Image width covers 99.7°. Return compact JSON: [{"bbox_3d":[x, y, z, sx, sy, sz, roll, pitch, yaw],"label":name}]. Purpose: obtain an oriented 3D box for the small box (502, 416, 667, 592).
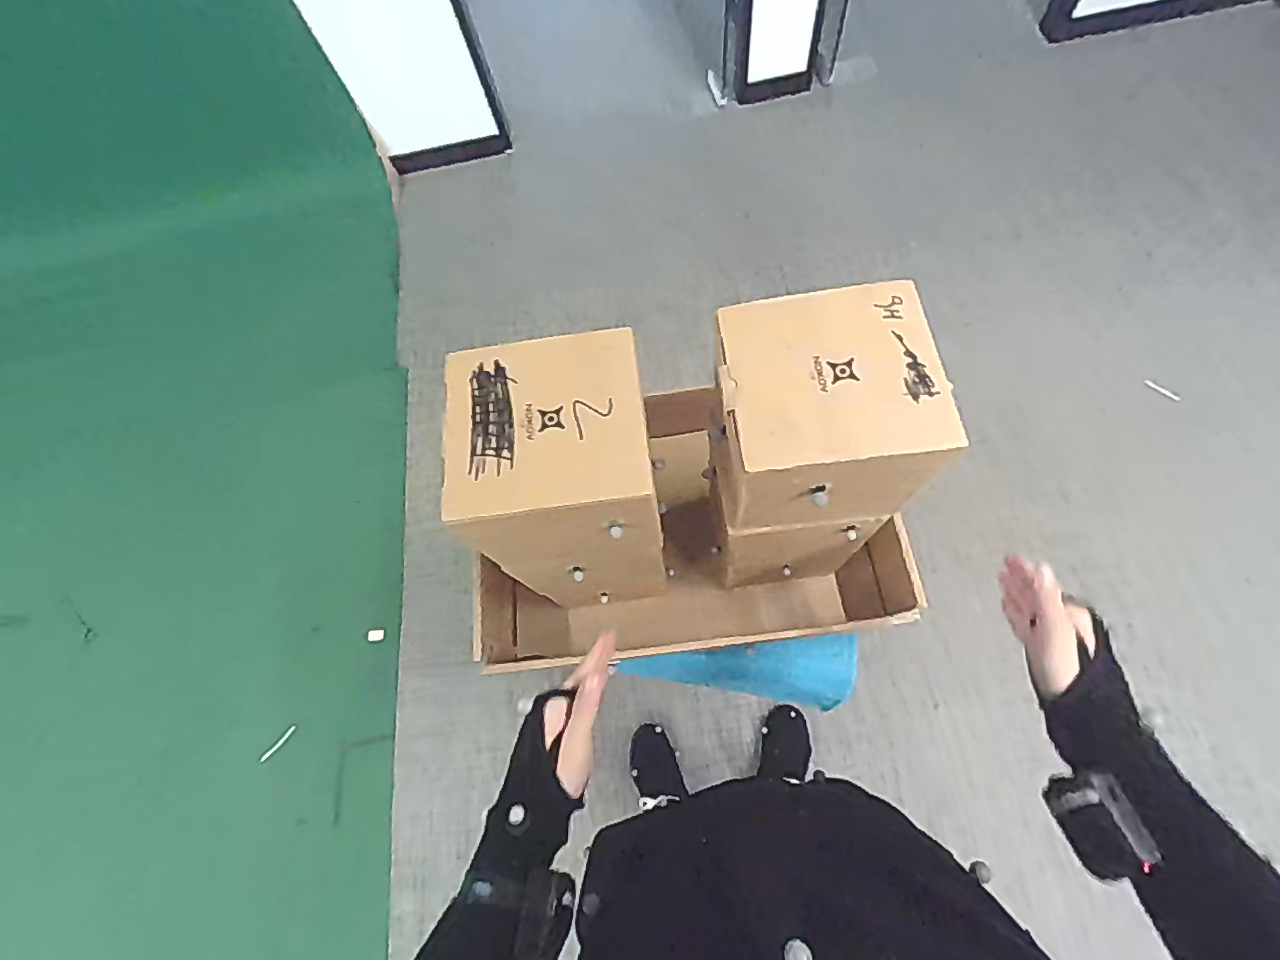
[{"bbox_3d":[-0.064,0.040,0.690,0.179,0.176,0.168,-8,68,2],"label":"small box"}]
